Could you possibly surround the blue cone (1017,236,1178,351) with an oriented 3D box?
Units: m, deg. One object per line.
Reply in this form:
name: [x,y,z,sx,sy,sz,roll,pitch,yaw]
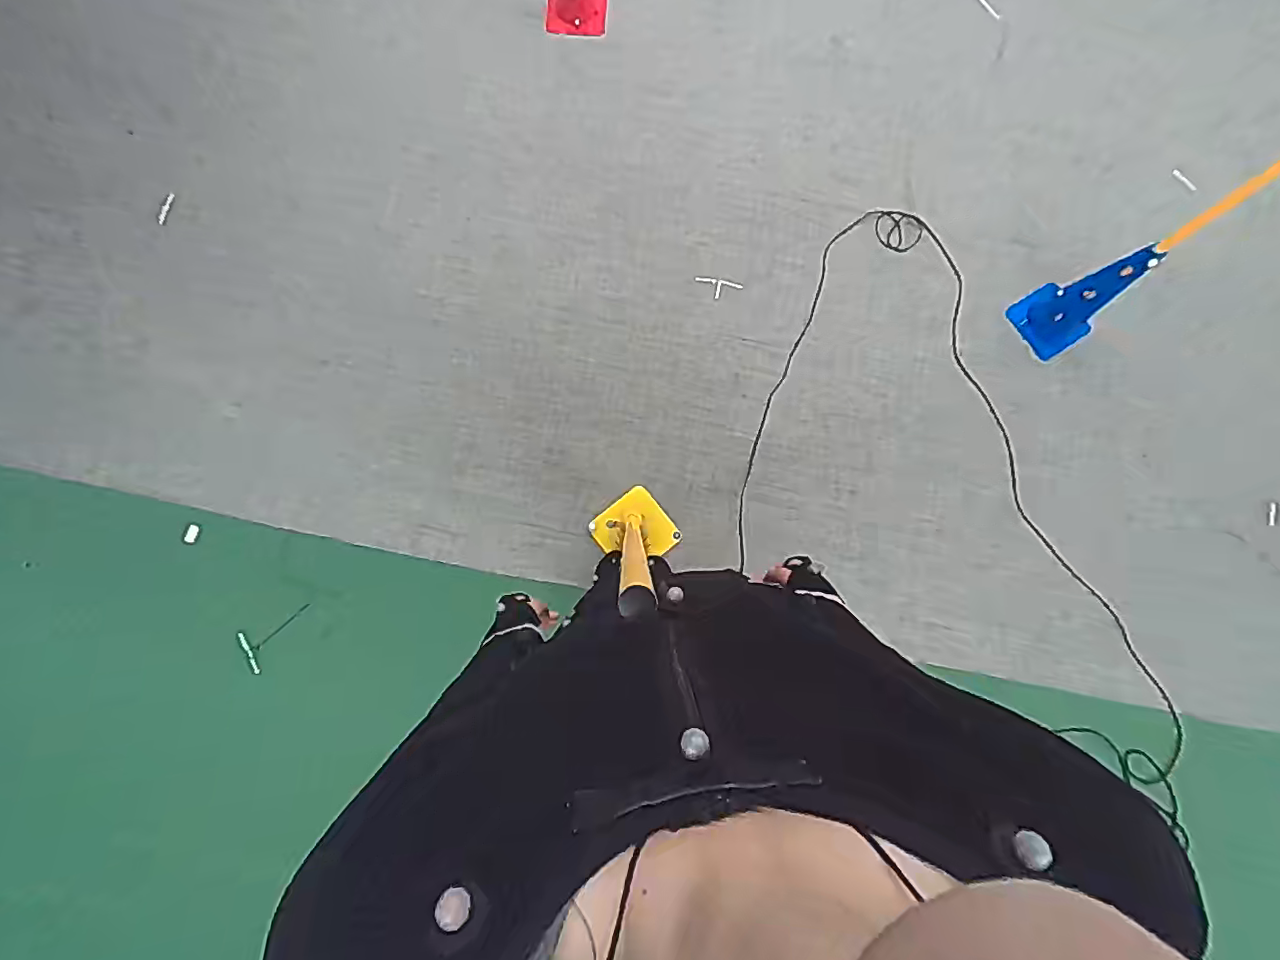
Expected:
blue cone: [1.260,-0.539,1.476,0.193,0.380,0.192,-33,82,-8]
